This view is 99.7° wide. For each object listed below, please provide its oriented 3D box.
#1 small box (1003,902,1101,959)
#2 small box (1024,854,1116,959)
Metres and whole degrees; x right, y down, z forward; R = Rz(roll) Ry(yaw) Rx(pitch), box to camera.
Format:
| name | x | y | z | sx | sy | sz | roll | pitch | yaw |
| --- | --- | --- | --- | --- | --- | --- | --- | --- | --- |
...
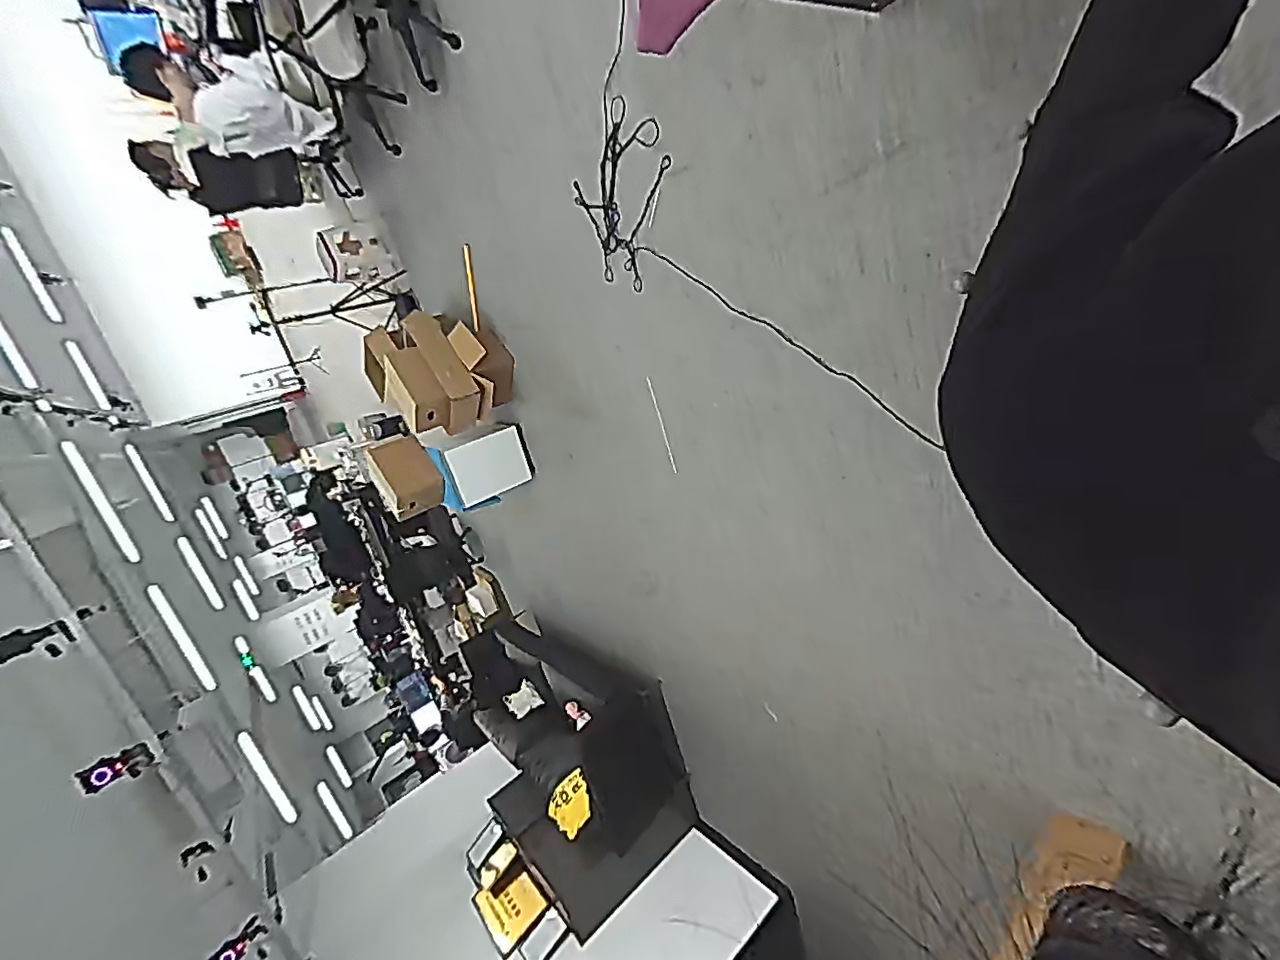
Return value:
| name | x | y | z | sx | sy | sz | roll | pitch | yaw |
| --- | --- | --- | --- | --- | --- | --- | --- | --- | --- |
| small box | 1.107 | 1.295 | 1.445 | 0.179 | 0.176 | 0.168 | 4 | 116 | 54 |
| small box | 1.224 | 1.226 | 1.538 | 0.168 | 0.176 | 0.179 | 2 | 114 | 54 |
